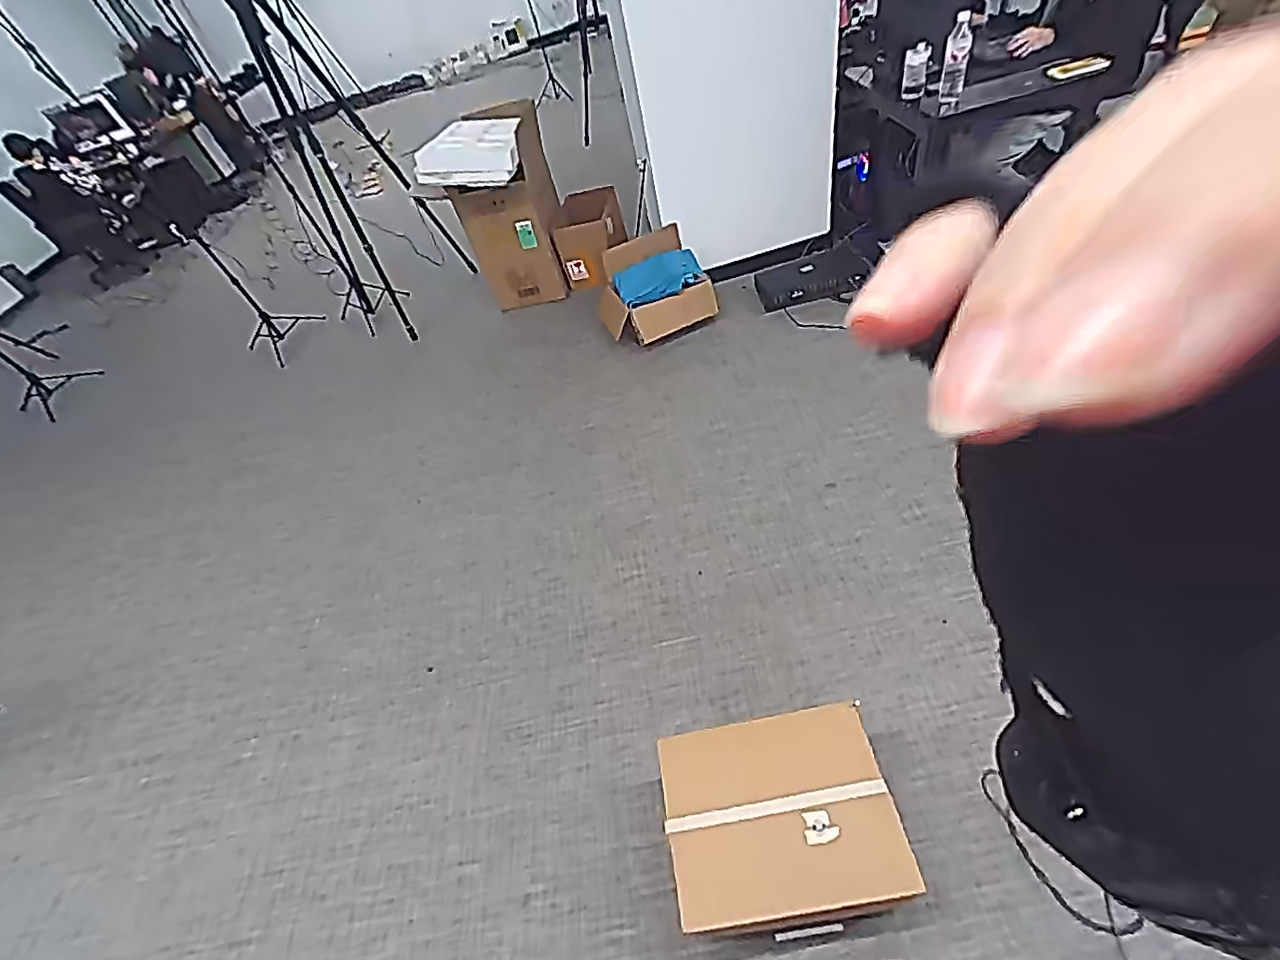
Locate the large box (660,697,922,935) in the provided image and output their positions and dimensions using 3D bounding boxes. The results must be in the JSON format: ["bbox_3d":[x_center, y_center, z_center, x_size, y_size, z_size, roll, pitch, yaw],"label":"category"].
[{"bbox_3d":[0.282,0.690,1.102,0.408,0.320,0.320,-13,48,4],"label":"large box"}]
